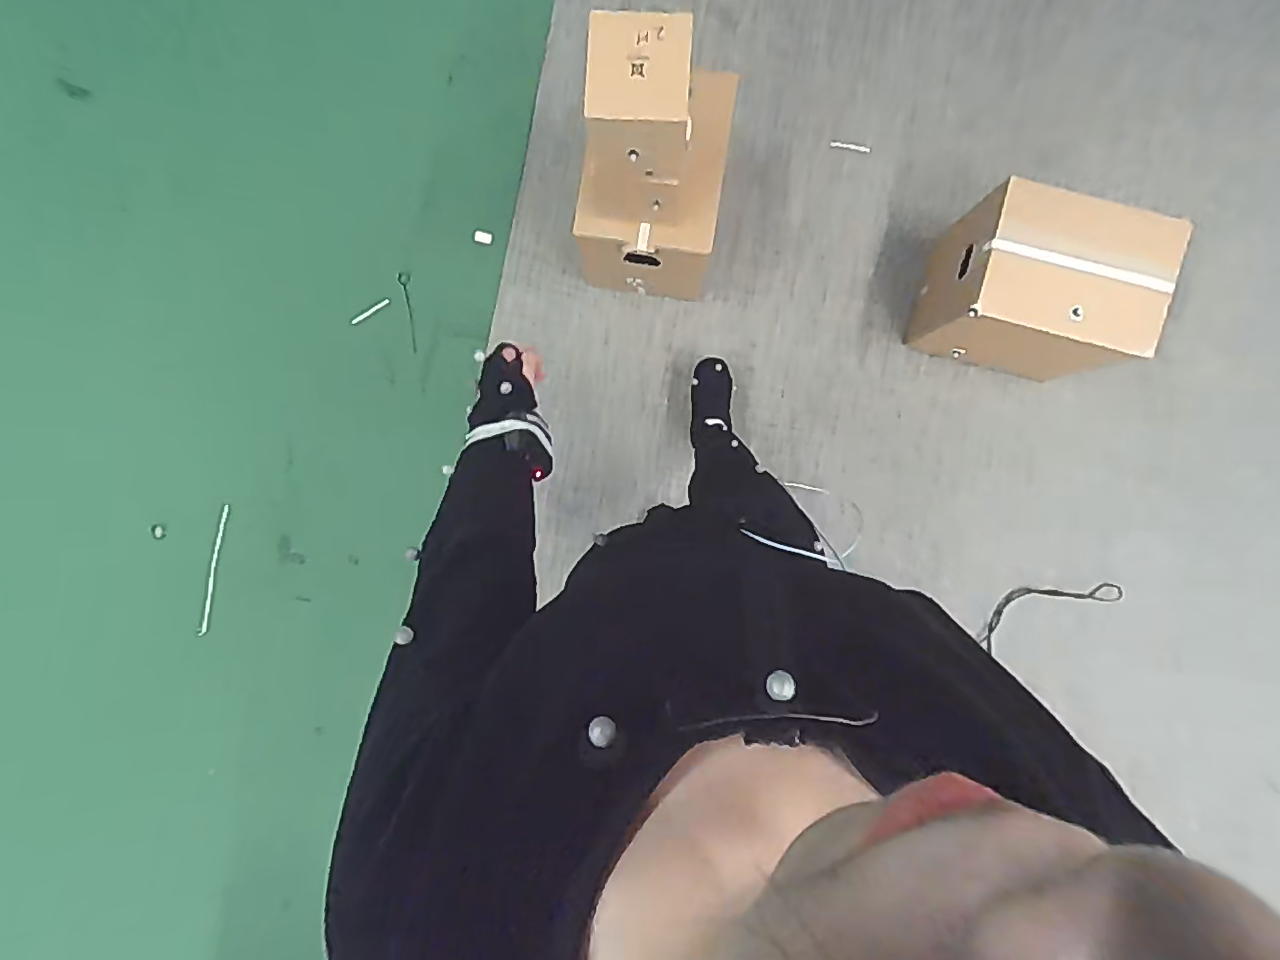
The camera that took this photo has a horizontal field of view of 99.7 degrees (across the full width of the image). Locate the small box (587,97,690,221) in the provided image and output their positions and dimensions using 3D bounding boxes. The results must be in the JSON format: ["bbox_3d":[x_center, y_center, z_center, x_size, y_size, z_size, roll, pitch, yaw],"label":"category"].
[{"bbox_3d":[-0.002,-0.649,1.094,0.179,0.176,0.168,8,89,2],"label":"small box"}]

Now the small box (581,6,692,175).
[{"bbox_3d":[-0.004,-0.655,0.930,0.168,0.176,0.179,4,89,1],"label":"small box"}]

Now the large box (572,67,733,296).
[{"bbox_3d":[0.031,-0.716,1.337,0.320,0.320,0.408,9,90,1],"label":"large box"}]
